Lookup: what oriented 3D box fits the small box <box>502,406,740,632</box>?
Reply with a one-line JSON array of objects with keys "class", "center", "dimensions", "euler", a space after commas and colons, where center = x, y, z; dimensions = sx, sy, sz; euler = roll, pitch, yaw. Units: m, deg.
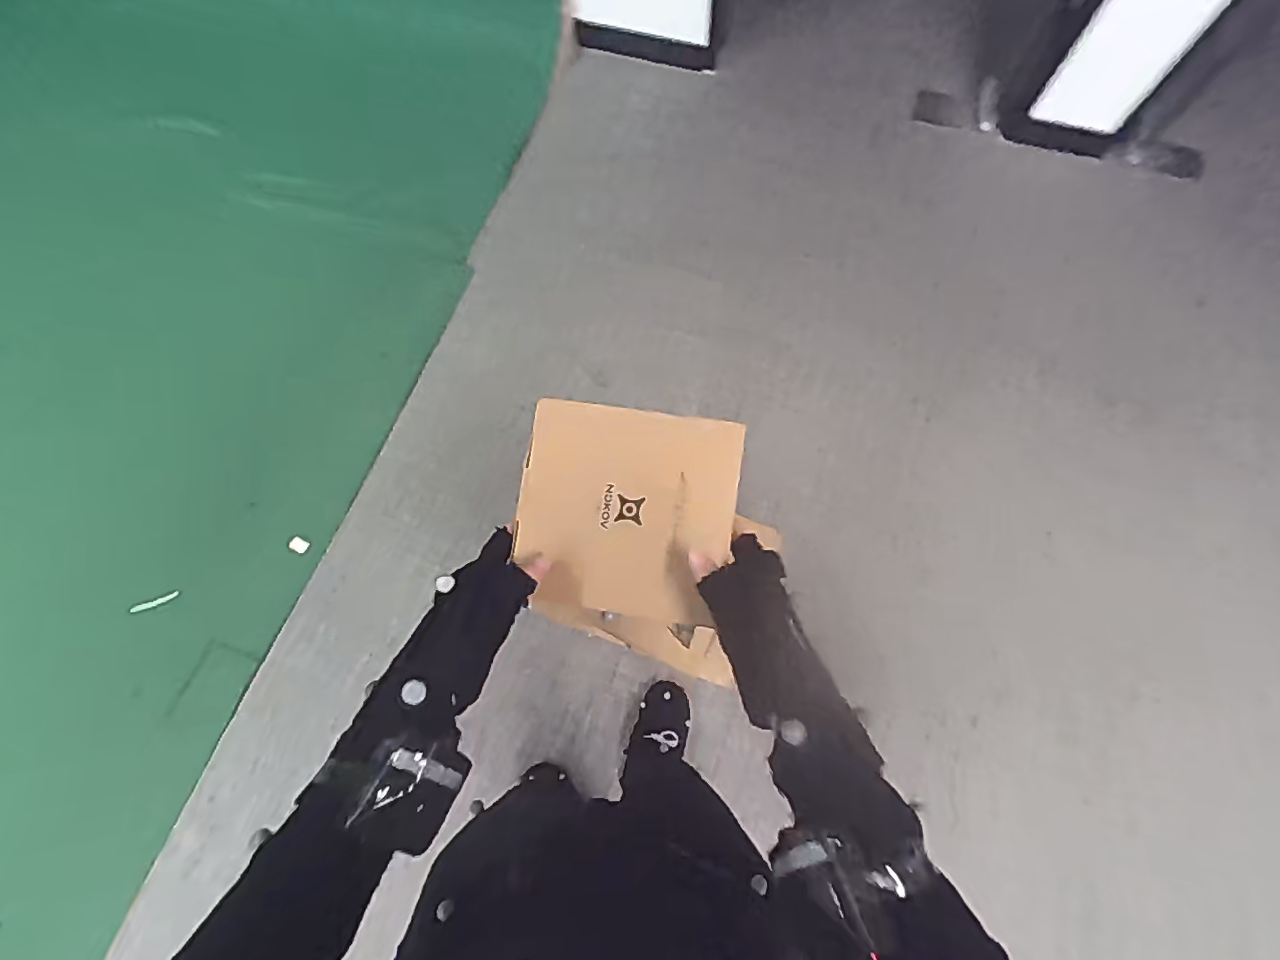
[{"class": "small box", "center": [-0.011, 0.034, 0.508], "dimensions": [0.179, 0.176, 0.168], "euler": [6, 87, 3]}]

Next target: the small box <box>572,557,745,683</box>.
[{"class": "small box", "center": [0.029, 0.166, 0.772], "dimensions": [0.179, 0.176, 0.168], "euler": [25, 77, 10]}]
